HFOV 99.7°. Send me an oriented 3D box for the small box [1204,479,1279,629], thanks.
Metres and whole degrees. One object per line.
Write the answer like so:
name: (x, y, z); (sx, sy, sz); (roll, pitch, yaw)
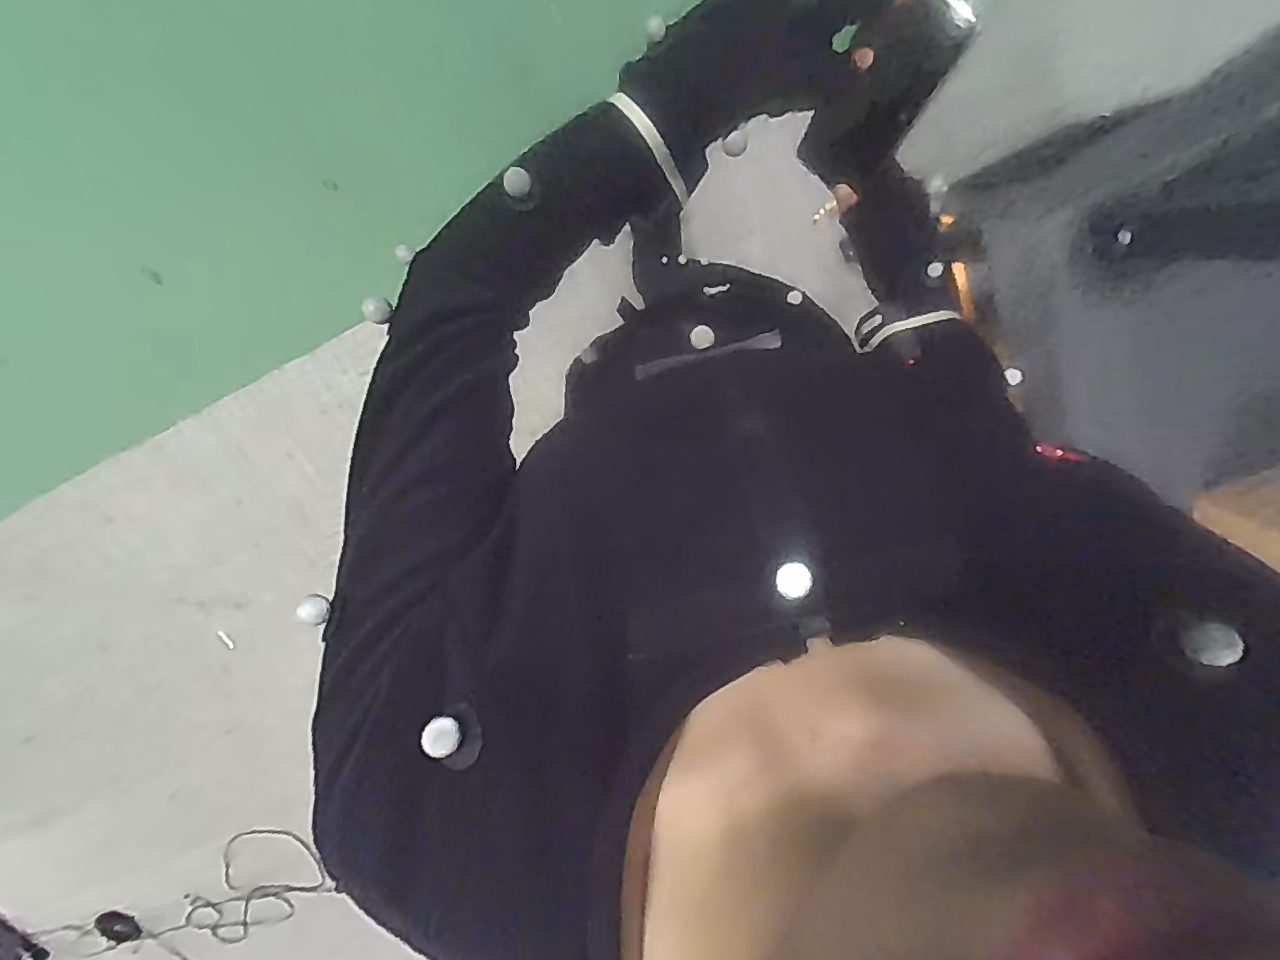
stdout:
small box: (0.903, 0.101, 0.710); (0.168, 0.176, 0.179); (-21, 110, 7)
